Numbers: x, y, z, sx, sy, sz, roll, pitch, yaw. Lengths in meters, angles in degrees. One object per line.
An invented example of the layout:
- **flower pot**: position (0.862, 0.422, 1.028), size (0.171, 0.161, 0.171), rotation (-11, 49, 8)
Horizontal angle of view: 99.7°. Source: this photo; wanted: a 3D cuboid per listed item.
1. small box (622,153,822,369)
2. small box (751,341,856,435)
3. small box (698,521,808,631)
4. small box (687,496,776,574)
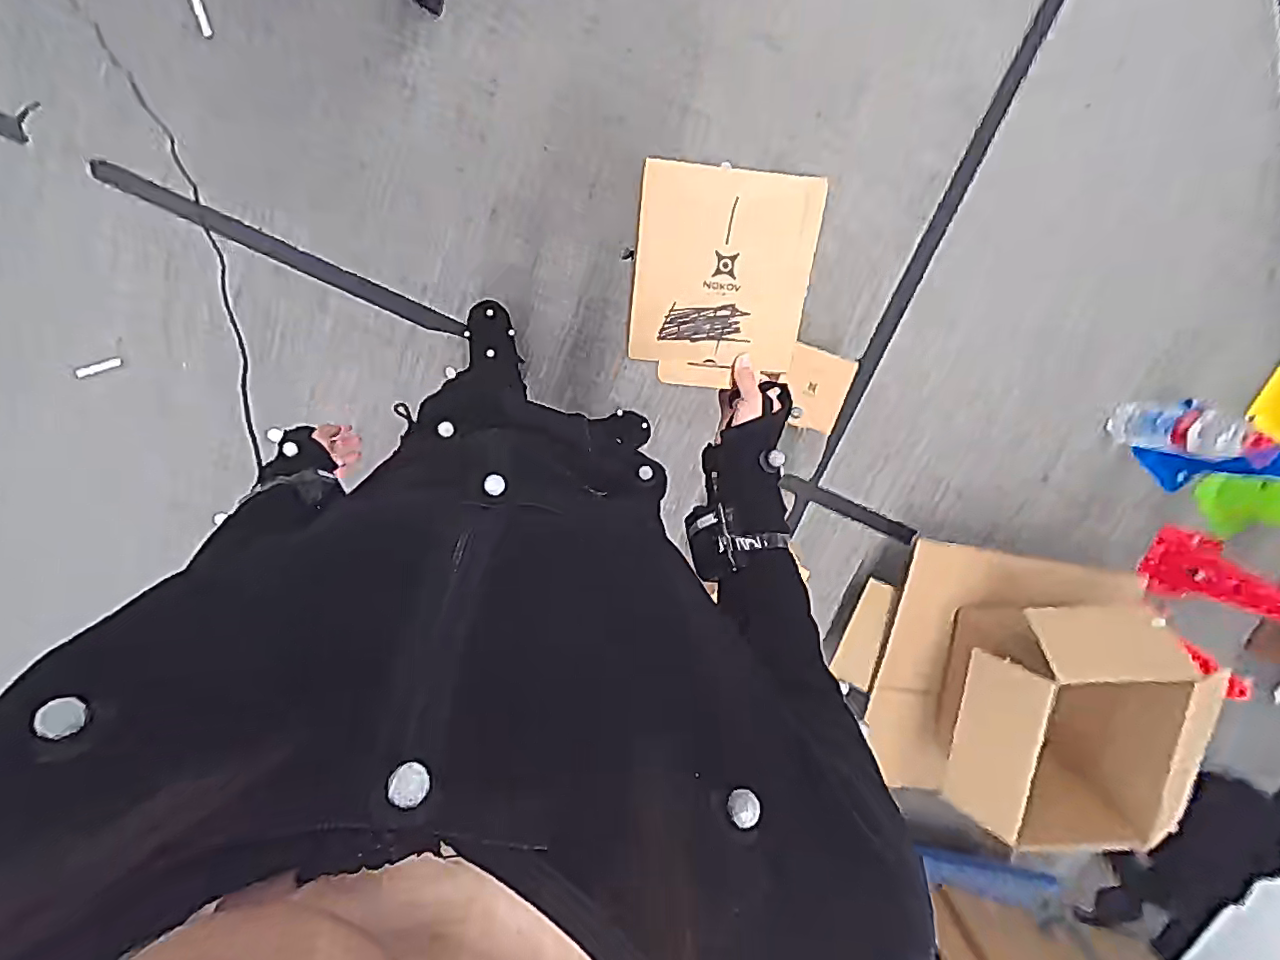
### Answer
- **small box**: position (0.069, -0.226, 0.571), size (0.168, 0.176, 0.179), rotation (3, 113, -4)
- **small box**: position (0.385, -0.227, 1.314), size (0.168, 0.176, 0.179), rotation (17, 102, -8)
- **small box**: position (0.252, 0.214, 1.254), size (0.179, 0.176, 0.168), rotation (23, 103, -7)
- **small box**: position (0.234, 0.168, 1.409), size (0.168, 0.176, 0.179), rotation (27, 102, -9)
